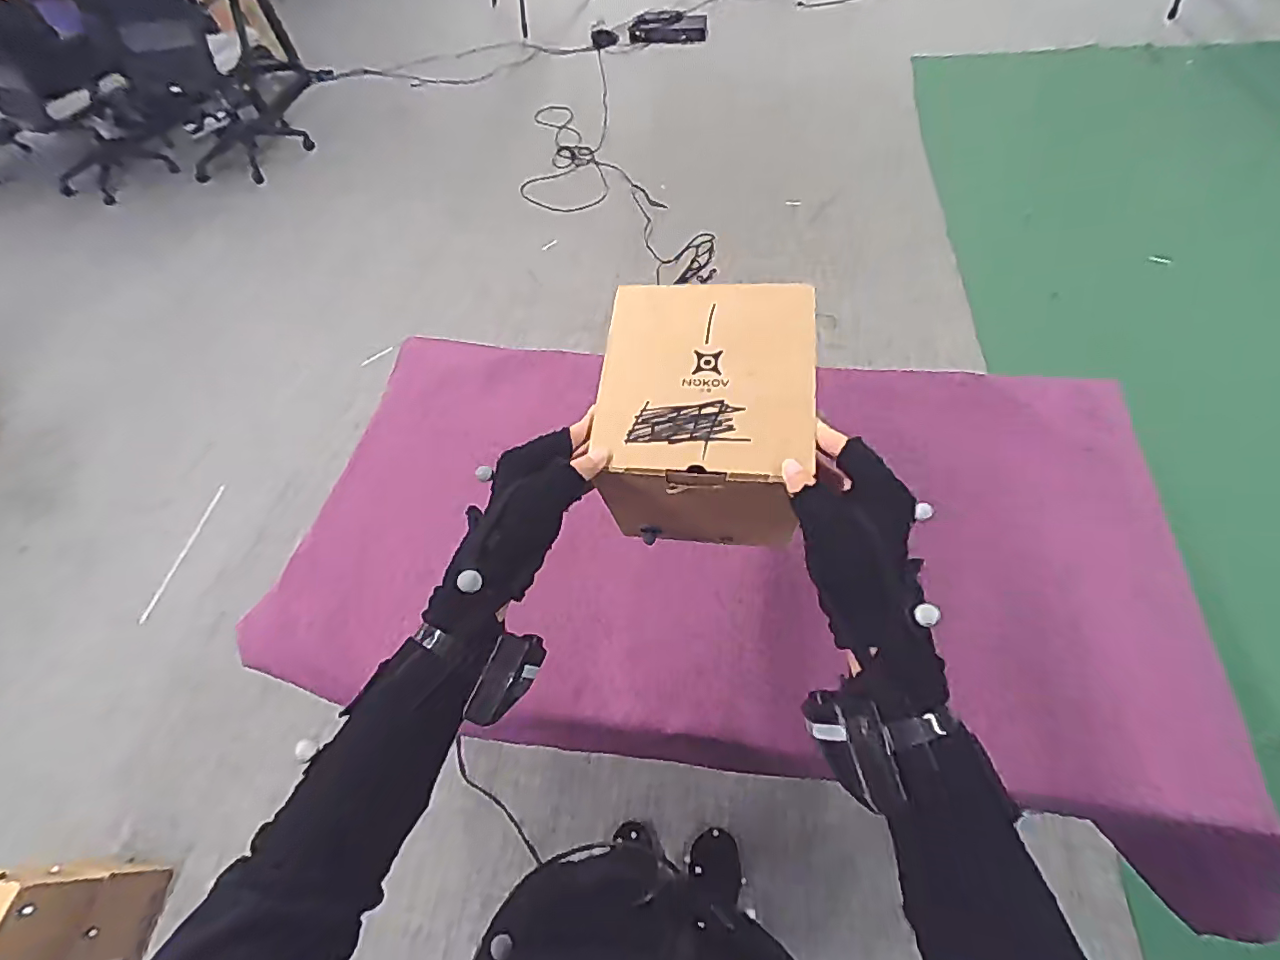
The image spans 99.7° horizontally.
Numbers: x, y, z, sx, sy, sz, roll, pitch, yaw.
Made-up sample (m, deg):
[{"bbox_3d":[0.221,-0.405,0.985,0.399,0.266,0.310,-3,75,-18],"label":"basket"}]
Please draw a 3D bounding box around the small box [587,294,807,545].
[{"bbox_3d":[0.062,-0.047,0.504,0.168,0.176,0.179,3,66,11],"label":"small box"}]
